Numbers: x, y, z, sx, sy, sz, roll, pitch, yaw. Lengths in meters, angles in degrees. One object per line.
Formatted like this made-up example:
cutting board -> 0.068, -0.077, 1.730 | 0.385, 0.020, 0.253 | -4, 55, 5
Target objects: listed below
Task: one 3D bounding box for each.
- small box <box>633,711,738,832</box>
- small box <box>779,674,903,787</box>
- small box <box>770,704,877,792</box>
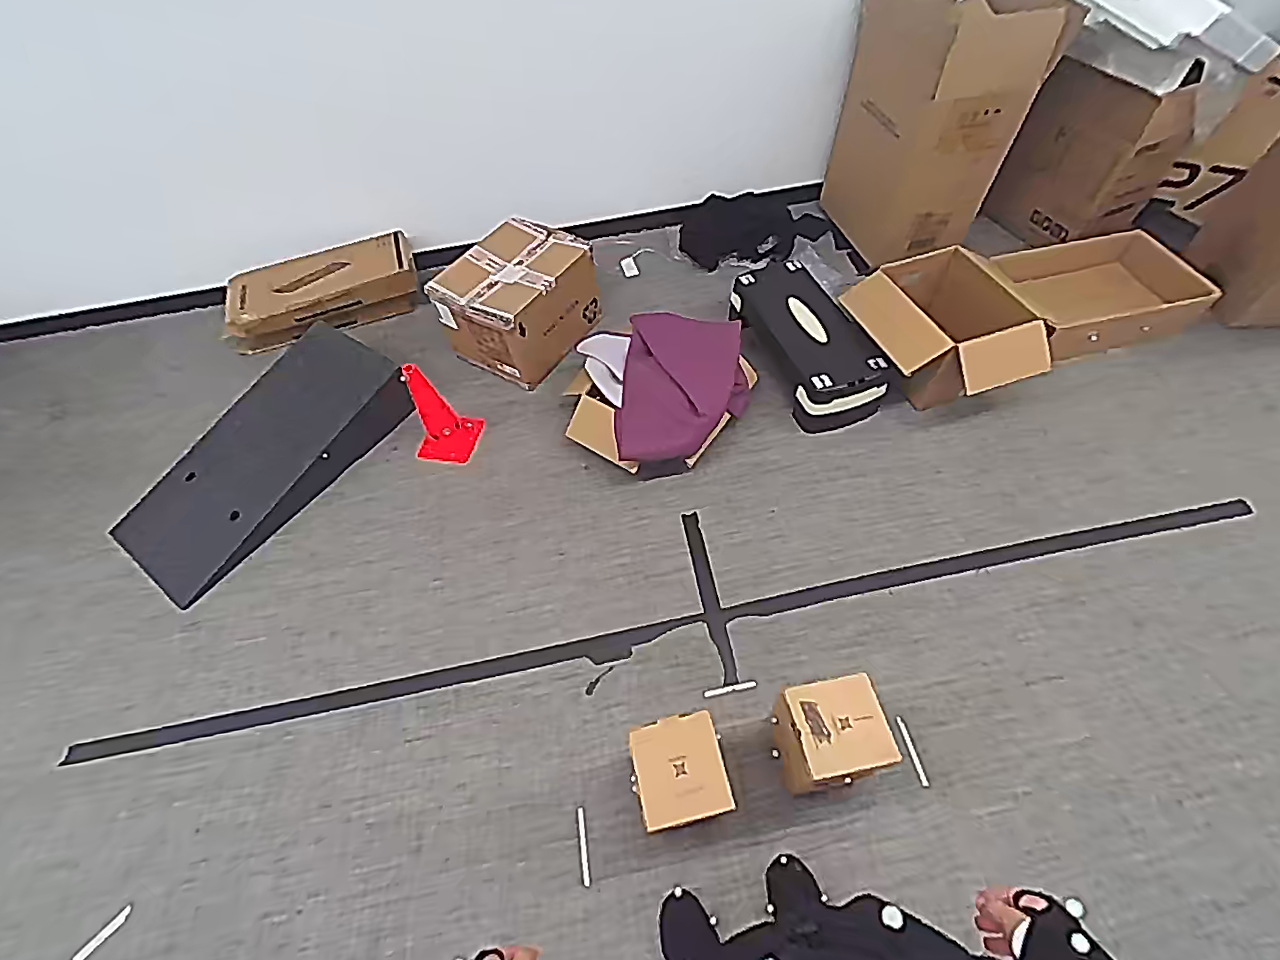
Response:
small box -> 0.087, 0.585, 1.081 | 0.168, 0.176, 0.179 | -14, 57, -3
small box -> 0.393, 0.513, 1.101 | 0.179, 0.176, 0.168 | -10, 56, -3
small box -> 0.409, 0.605, 1.238 | 0.168, 0.176, 0.179 | -9, 57, -3
